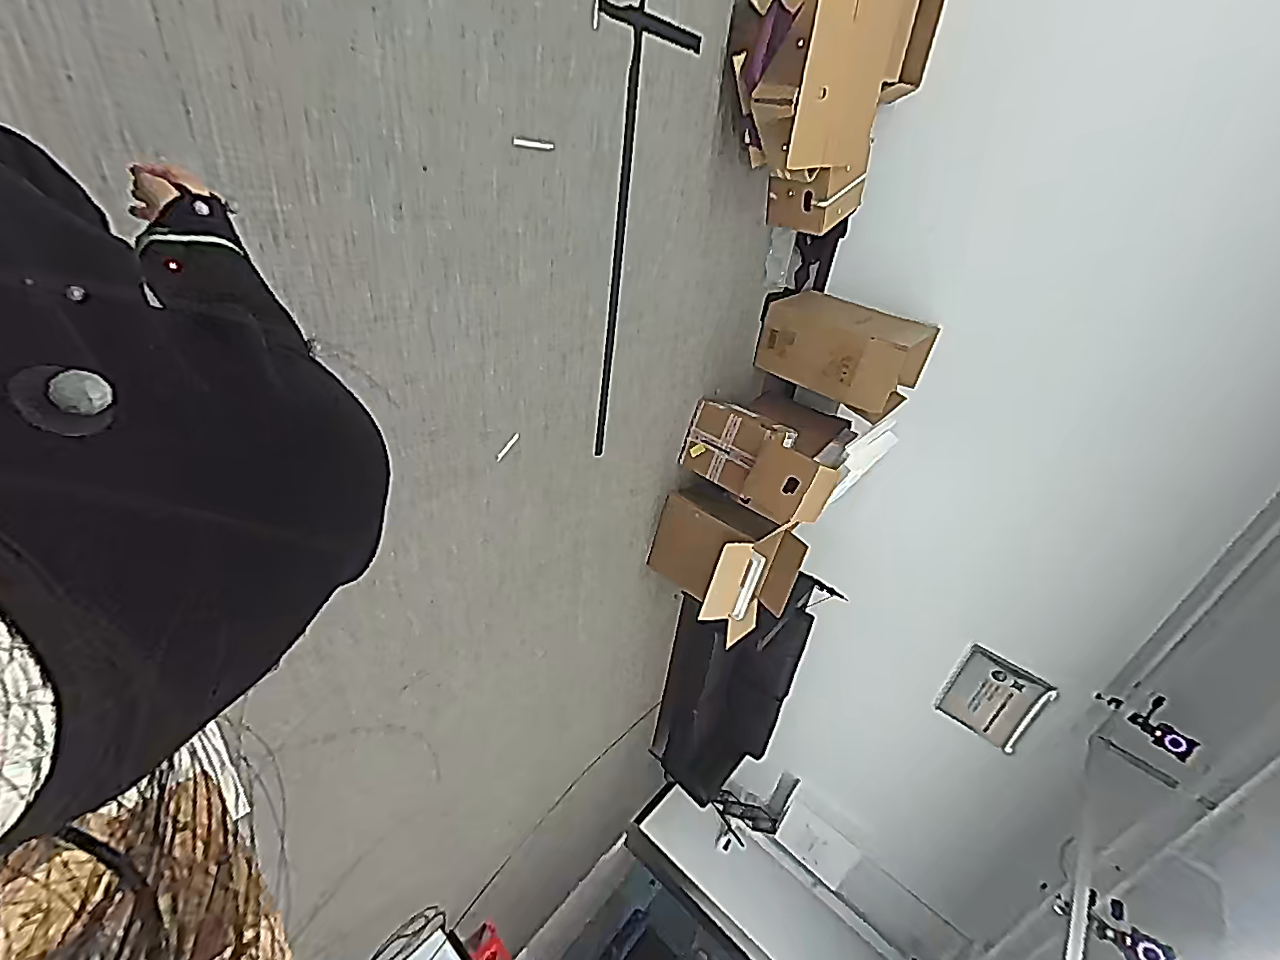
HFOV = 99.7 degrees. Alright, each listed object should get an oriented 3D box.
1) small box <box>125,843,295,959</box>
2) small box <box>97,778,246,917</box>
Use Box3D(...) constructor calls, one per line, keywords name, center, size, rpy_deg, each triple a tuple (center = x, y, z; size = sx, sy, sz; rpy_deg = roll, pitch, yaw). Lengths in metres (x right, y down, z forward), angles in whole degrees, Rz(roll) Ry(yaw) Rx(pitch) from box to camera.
Box3D(name="small box", center=(-0.699, 0.746, 0.886), size=(0.168, 0.176, 0.179), rpy_deg=(-22, 133, -46))
Box3D(name="small box", center=(-0.824, 0.677, 0.967), size=(0.168, 0.176, 0.179), rpy_deg=(-22, 132, -46))
